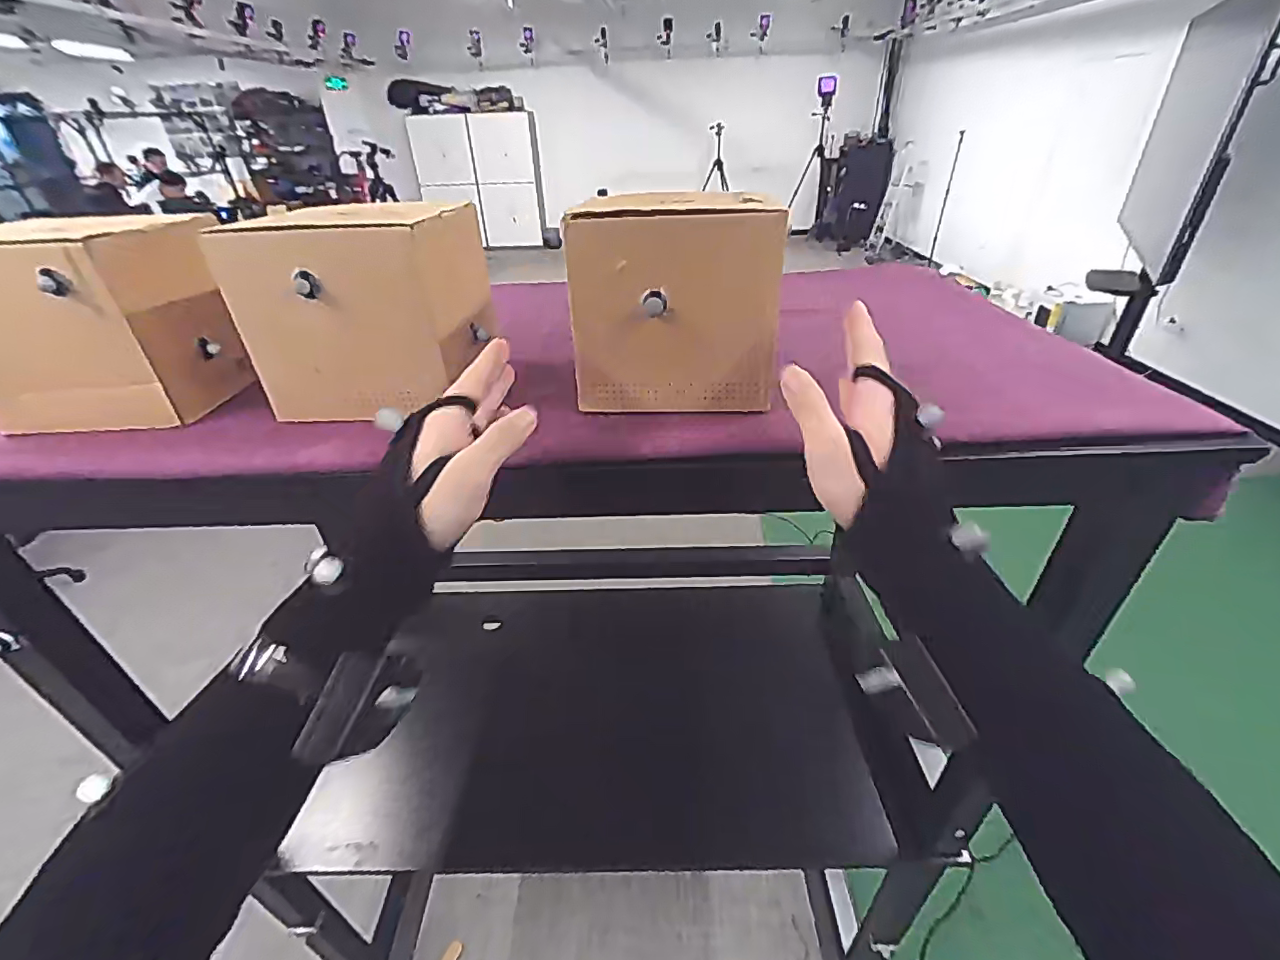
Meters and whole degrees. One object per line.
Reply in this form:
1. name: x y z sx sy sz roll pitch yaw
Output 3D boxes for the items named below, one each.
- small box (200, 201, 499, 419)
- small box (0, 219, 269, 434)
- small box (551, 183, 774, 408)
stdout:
1. small box: -0.257 -0.167 0.531 0.179 0.176 0.168 -1 34 4
2. small box: -0.519 -0.154 0.538 0.179 0.176 0.168 -3 33 -1
3. small box: 0.027 -0.177 0.519 0.179 0.176 0.168 -2 34 5
